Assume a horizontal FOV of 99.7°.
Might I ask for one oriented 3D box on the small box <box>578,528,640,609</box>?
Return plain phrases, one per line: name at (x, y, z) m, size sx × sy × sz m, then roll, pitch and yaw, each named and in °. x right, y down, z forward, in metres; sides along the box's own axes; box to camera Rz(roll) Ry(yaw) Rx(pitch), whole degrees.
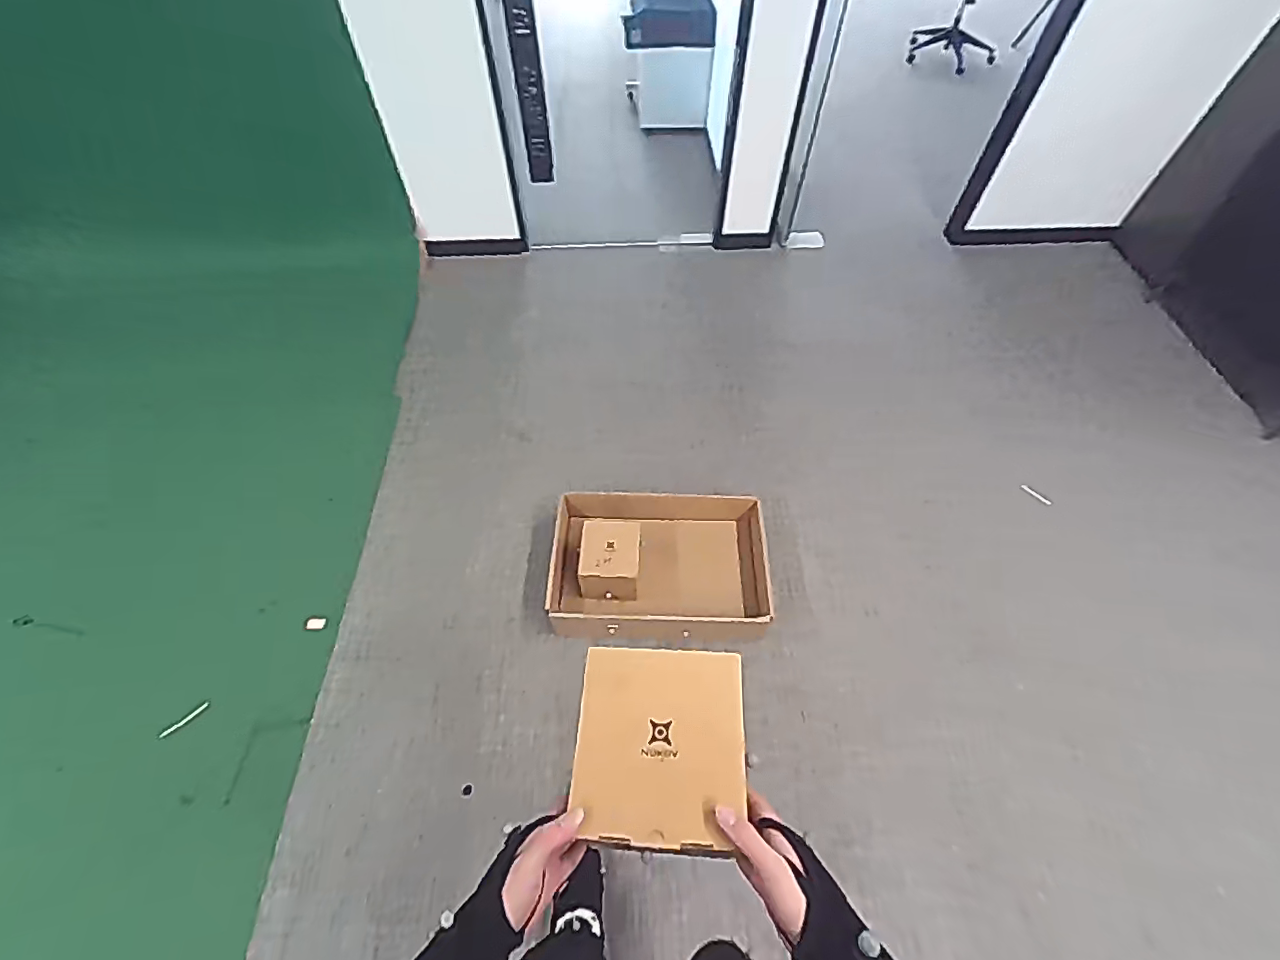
small box at (-0.087, 0.259, 1.579) m, size 0.168 × 0.176 × 0.179 m, roll 2°, pitch 54°, yaw 1°
